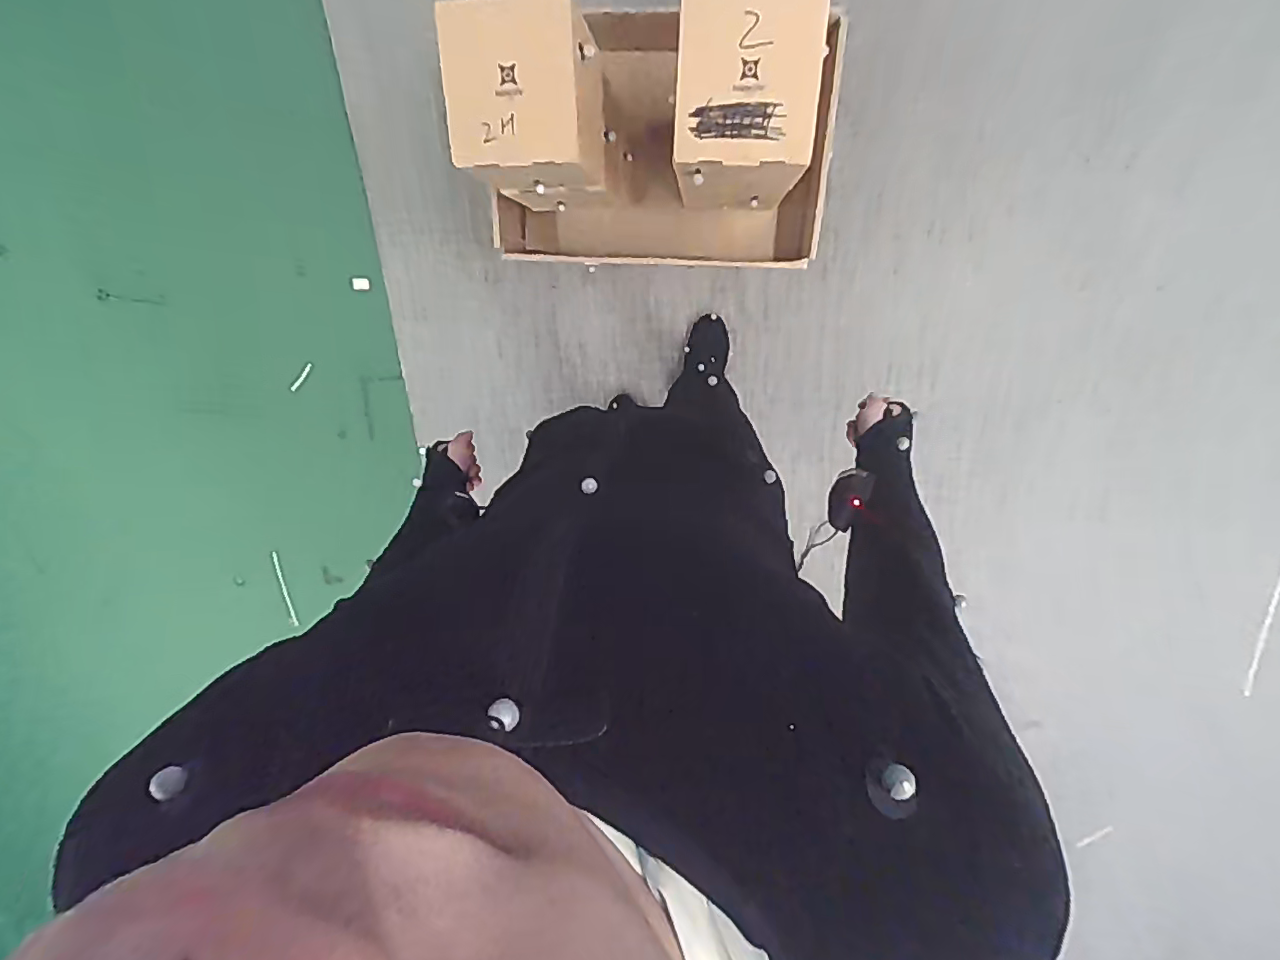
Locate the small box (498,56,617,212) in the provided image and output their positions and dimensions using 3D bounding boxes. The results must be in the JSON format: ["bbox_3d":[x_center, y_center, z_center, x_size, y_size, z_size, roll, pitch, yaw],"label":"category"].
[{"bbox_3d":[-0.130,-0.546,0.876,0.168,0.176,0.179,1,108,6],"label":"small box"}]

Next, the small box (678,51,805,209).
[{"bbox_3d":[0.150,-0.530,0.842,0.168,0.176,0.179,4,108,5],"label":"small box"}]

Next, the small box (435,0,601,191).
[{"bbox_3d":[-0.148,-0.498,0.718,0.168,0.176,0.179,2,109,7],"label":"small box"}]
